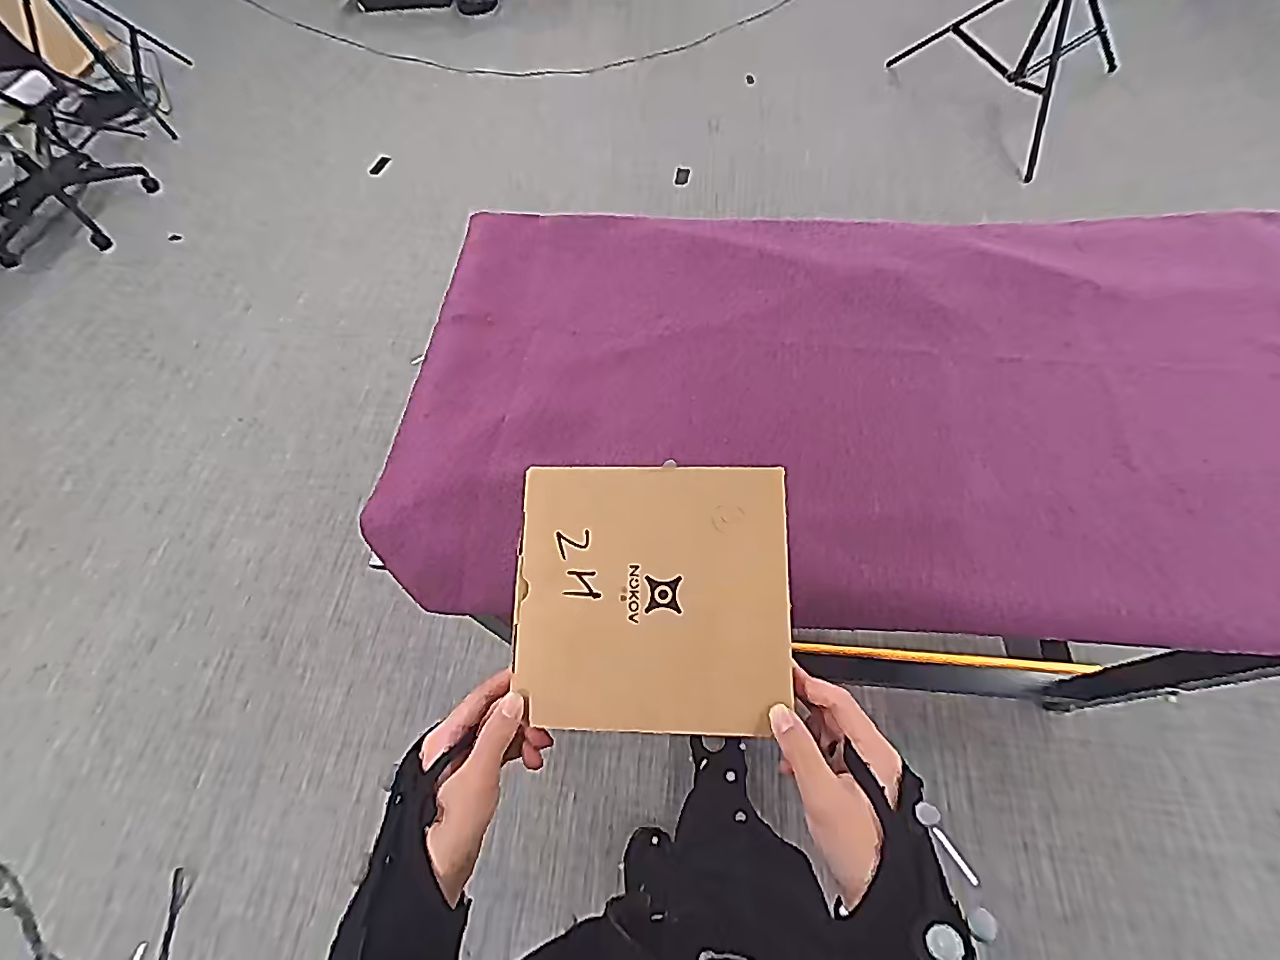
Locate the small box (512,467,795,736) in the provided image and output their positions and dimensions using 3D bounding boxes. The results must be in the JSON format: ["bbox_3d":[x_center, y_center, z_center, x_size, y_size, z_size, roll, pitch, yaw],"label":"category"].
[{"bbox_3d":[0.016,0.092,0.425,0.179,0.176,0.168,0,75,6],"label":"small box"}]
